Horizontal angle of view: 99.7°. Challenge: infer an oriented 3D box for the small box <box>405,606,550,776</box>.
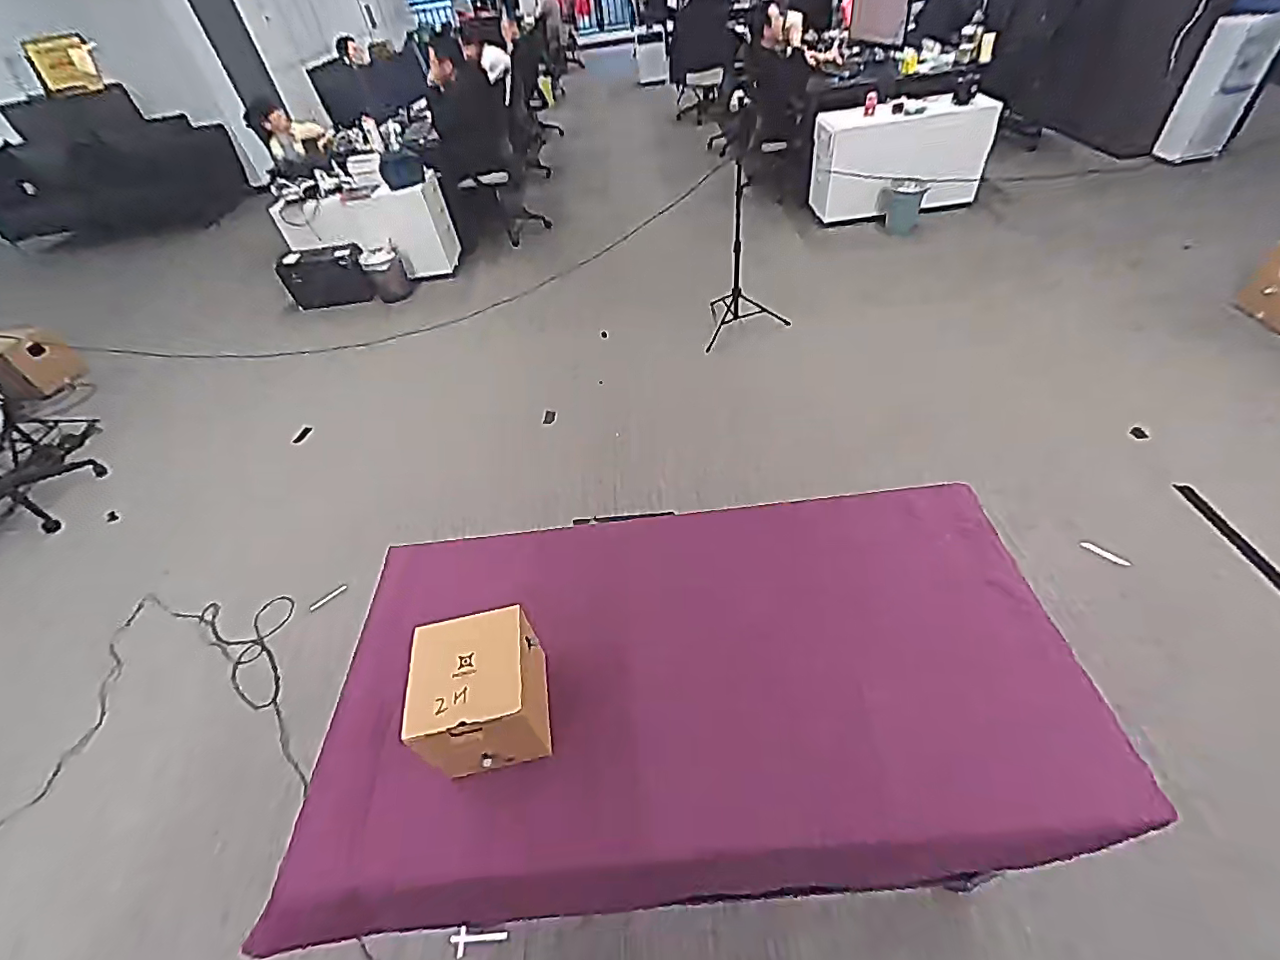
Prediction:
[{"bbox_3d":[-0.241,0.329,0.843,0.168,0.176,0.179,-12,45,-2],"label":"small box"}]
